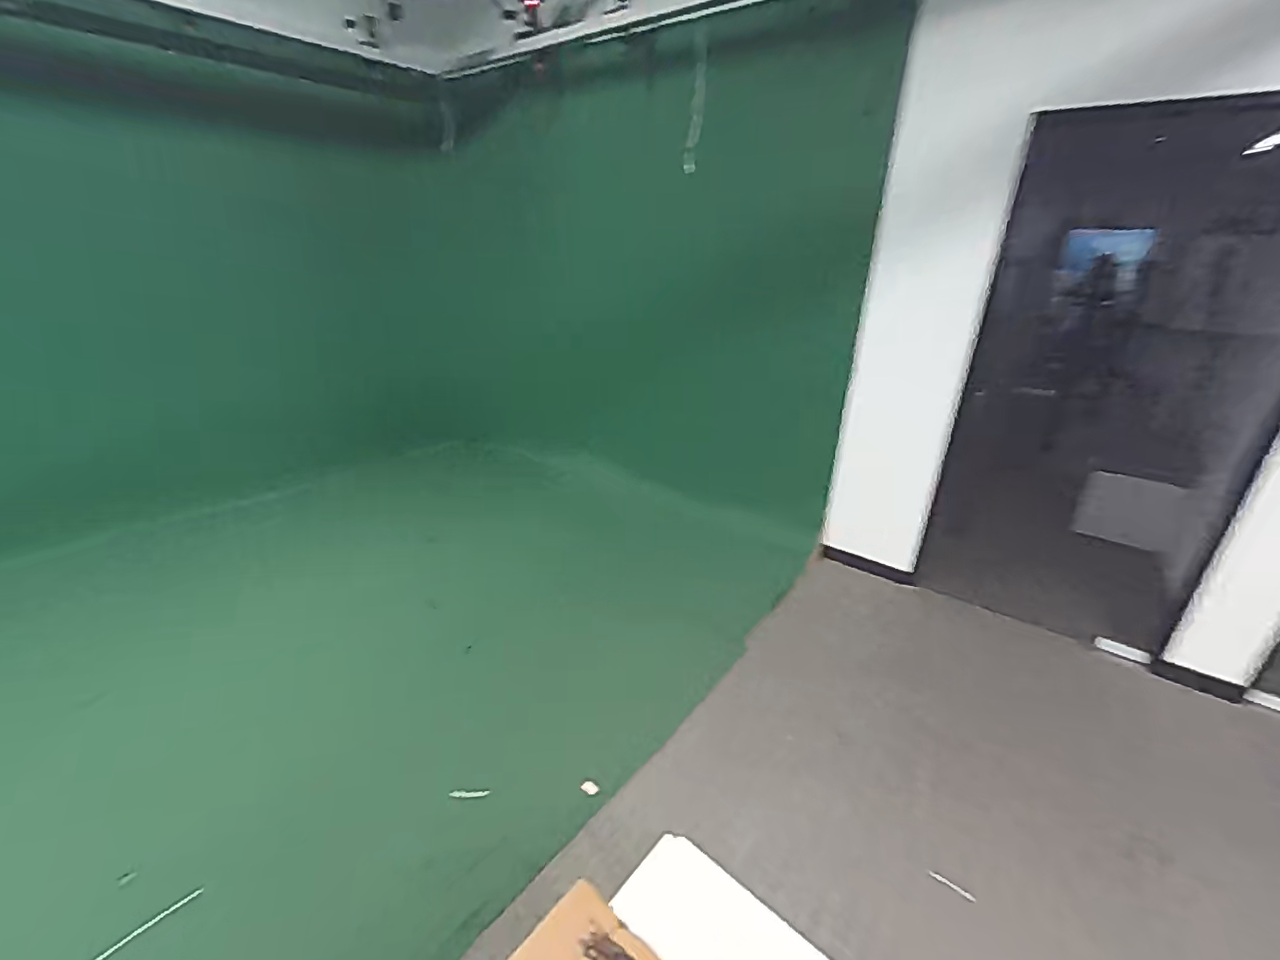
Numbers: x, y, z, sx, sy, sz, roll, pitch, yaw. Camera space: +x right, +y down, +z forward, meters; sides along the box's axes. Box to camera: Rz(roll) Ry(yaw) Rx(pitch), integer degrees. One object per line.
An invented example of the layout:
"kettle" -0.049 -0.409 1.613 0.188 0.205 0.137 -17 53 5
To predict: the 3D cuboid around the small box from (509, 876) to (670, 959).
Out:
"small box" -0.072 0.678 0.691 0.168 0.176 0.179 21 32 36
